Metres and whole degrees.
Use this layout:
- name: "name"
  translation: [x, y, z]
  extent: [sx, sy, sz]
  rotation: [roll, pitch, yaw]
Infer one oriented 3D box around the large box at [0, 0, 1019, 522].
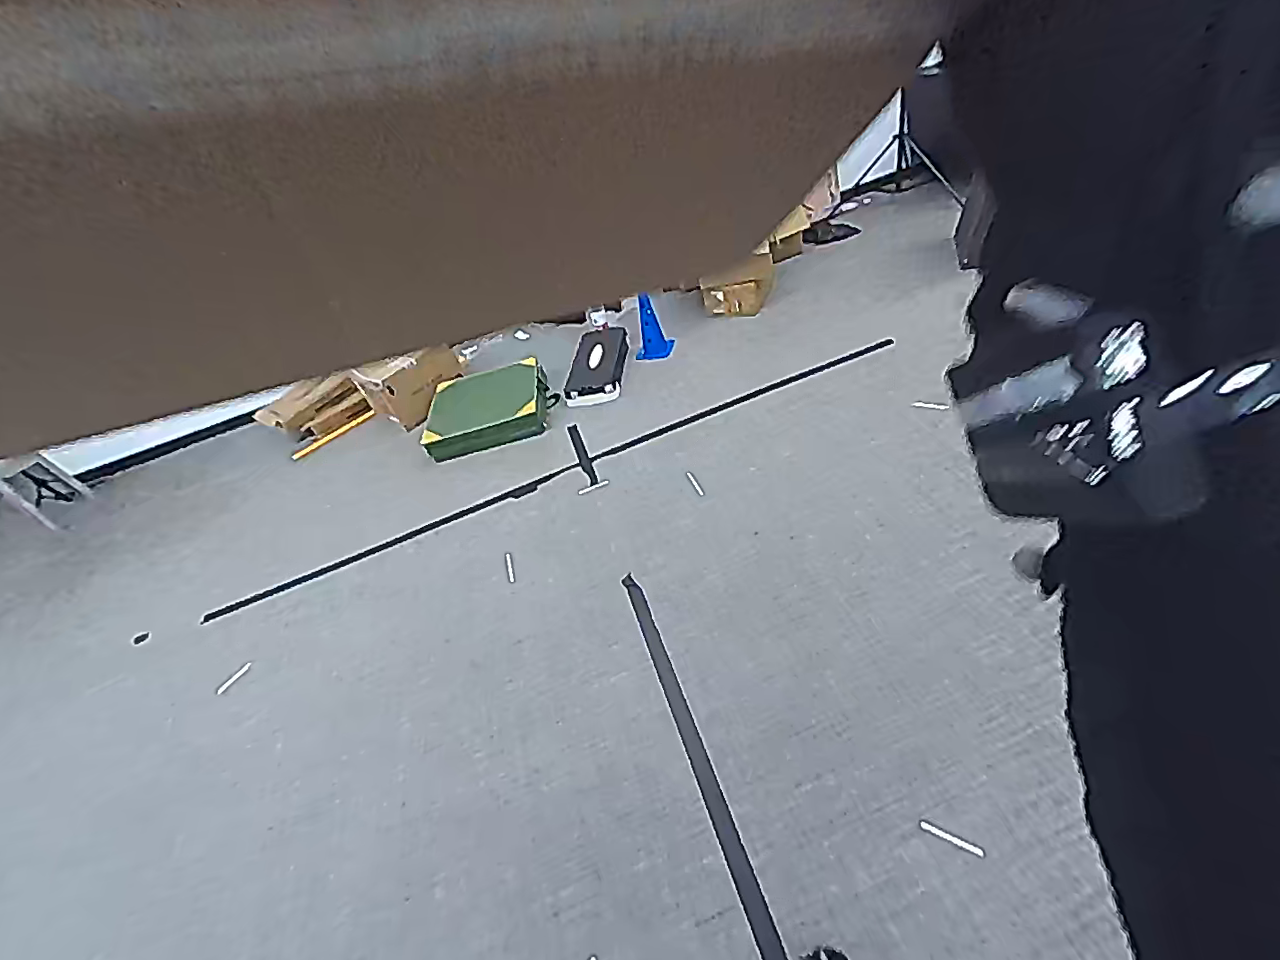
- name: "large box"
  translation: [-0.146, -0.194, 0.121]
  extent: [0.408, 0.320, 0.320]
  rotation: [-21, -2, -18]
